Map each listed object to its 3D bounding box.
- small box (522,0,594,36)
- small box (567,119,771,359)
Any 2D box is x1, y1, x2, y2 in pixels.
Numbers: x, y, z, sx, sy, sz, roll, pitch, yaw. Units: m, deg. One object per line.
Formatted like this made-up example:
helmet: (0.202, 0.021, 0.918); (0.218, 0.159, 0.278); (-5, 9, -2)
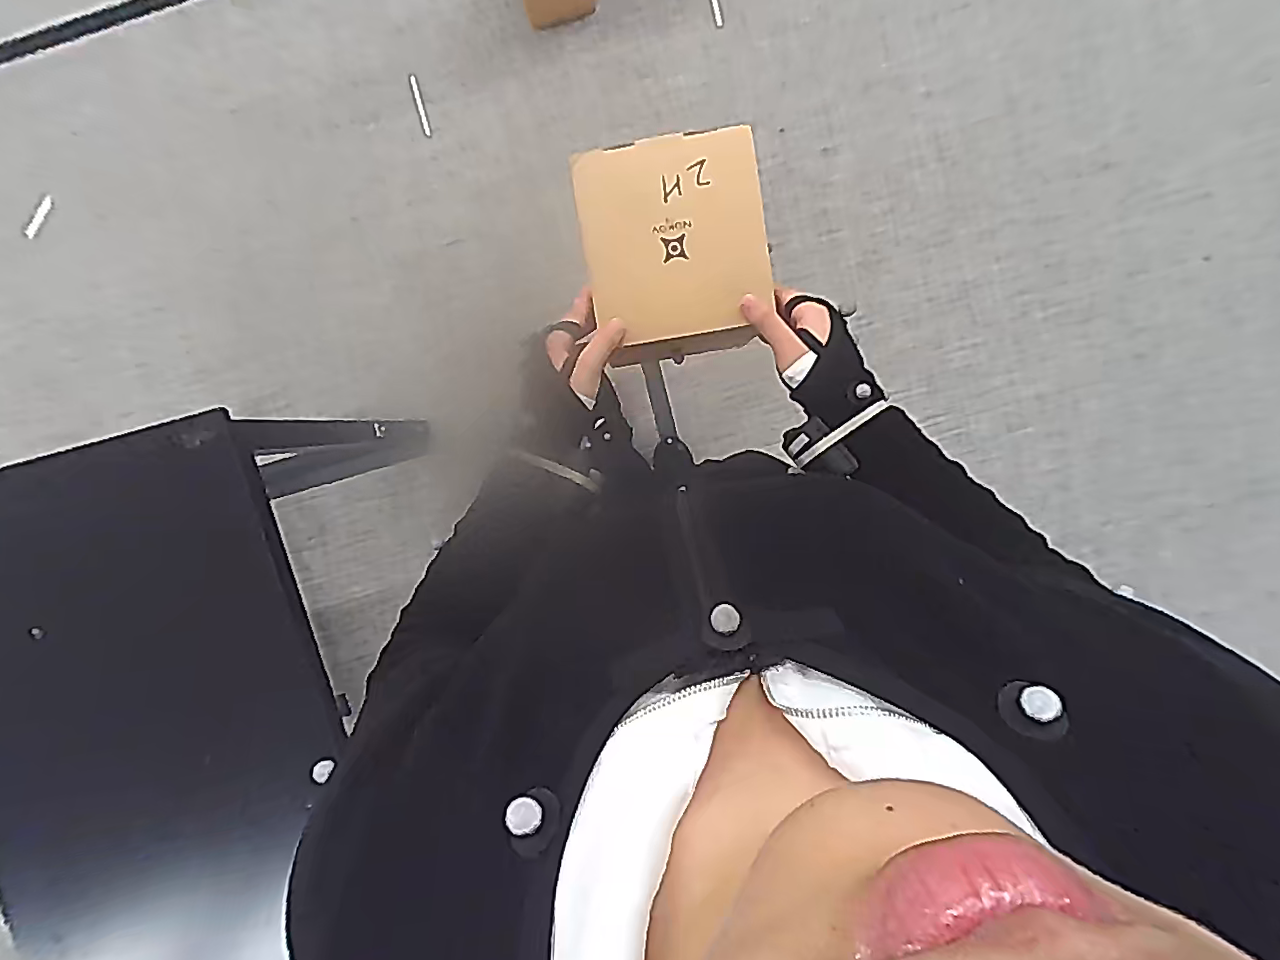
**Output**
small box: (-0.214, -1.238, 1.309); (0.179, 0.176, 0.168); (-16, 94, 4)
small box: (0.029, -0.228, 0.564); (0.168, 0.176, 0.179); (-9, 95, 2)
